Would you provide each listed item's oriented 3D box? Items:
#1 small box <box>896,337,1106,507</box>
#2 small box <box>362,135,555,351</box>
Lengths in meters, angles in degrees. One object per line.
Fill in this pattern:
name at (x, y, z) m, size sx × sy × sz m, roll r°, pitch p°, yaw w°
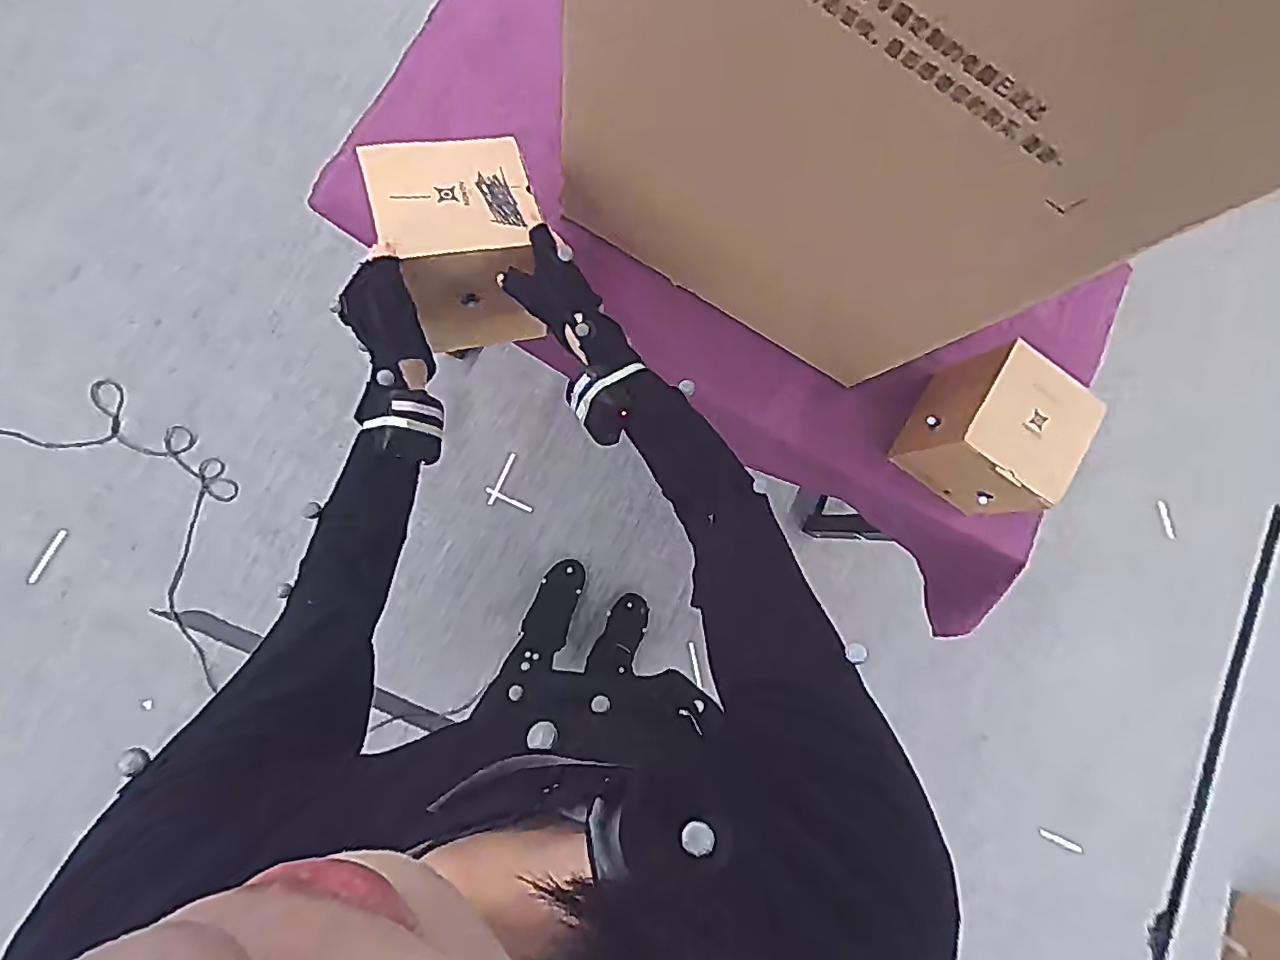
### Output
small box at (0.518, -0.072, 0.802) m, size 0.168 × 0.176 × 0.179 m, roll 34°, pitch 79°, yaw -6°
small box at (-0.211, -0.279, 0.653) m, size 0.179 × 0.176 × 0.168 m, roll -14°, pitch 70°, yaw -17°
